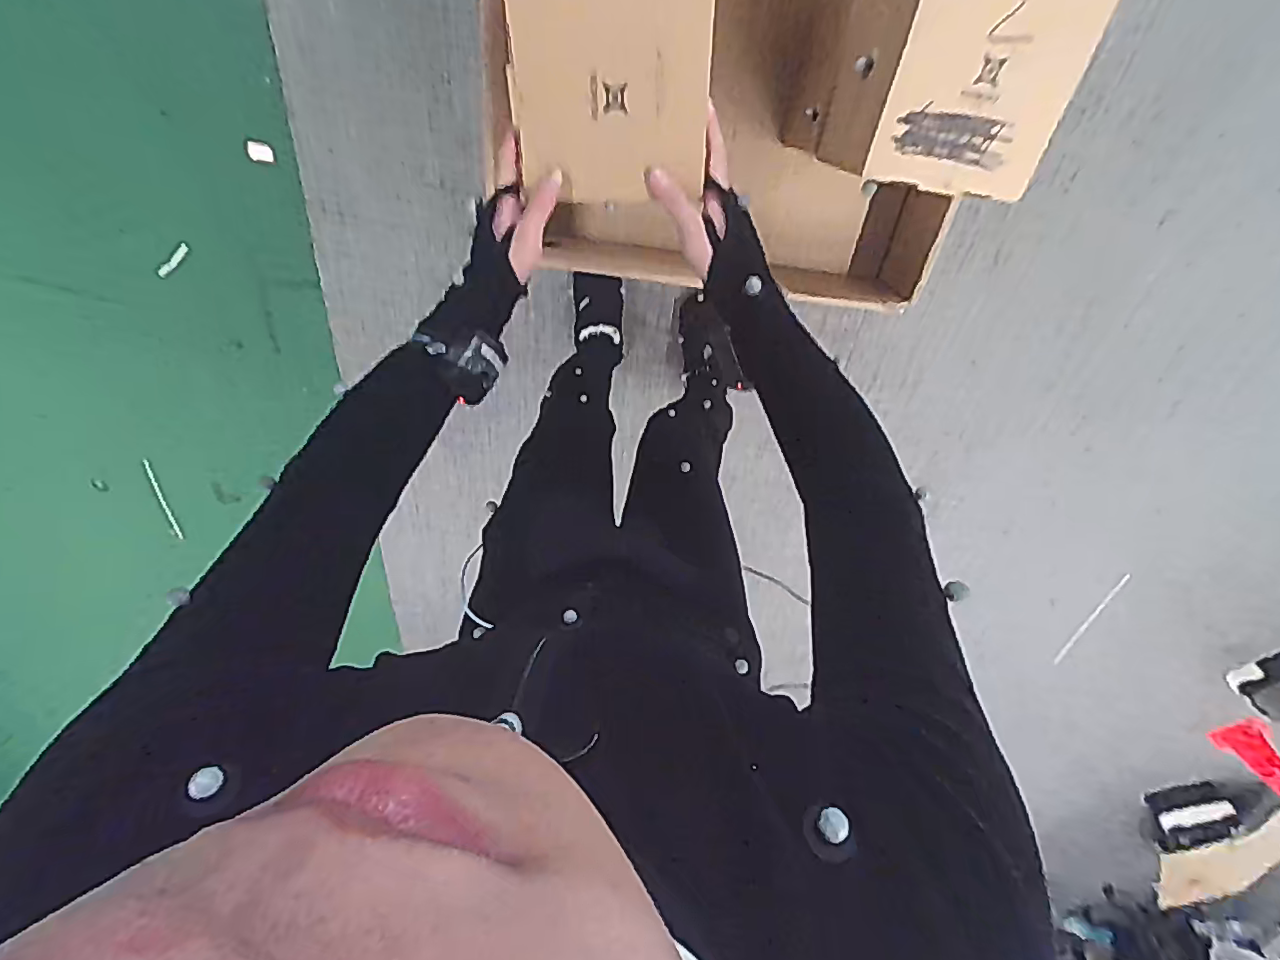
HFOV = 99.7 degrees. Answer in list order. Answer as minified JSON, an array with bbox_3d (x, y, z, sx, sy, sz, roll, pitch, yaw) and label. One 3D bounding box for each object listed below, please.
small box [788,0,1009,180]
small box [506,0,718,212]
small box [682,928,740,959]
[{"bbox_3d":[0.300,-0.496,0.679,0.168,0.176,0.179,6,125,-5],"label":"small box"},{"bbox_3d":[-0.023,-0.371,0.546,0.179,0.176,0.168,1,123,0],"label":"small box"},{"bbox_3d":[0.221,1.525,1.680,0.168,0.176,0.179,2,125,0],"label":"small box"}]
